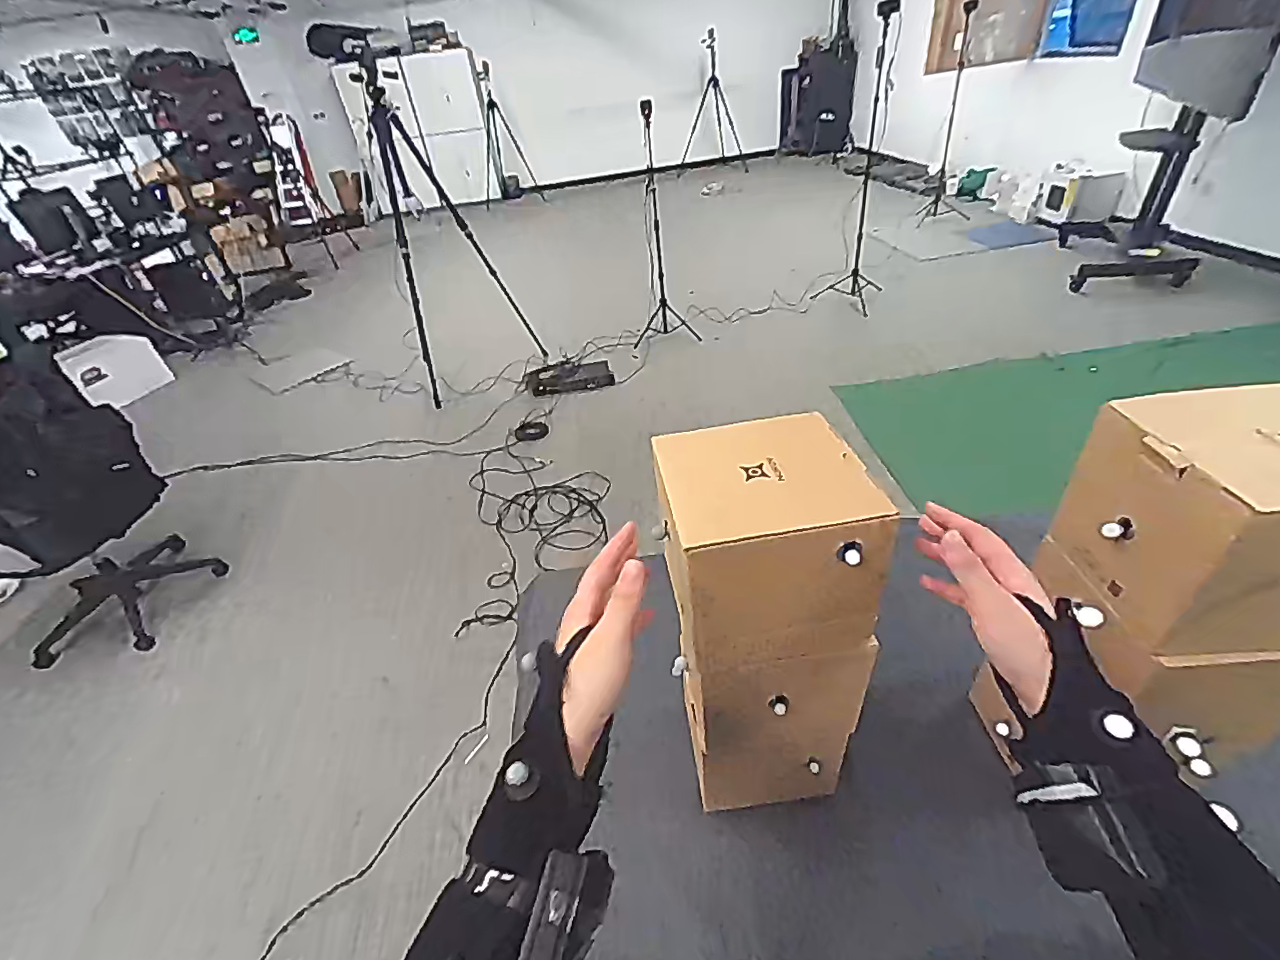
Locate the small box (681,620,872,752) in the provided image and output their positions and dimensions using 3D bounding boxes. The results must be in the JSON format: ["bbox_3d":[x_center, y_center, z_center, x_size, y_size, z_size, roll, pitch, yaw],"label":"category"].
[{"bbox_3d":[0.137,0.186,0.622,0.179,0.176,0.168,-8,37,0],"label":"small box"}]

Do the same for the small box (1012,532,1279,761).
[{"bbox_3d":[0.536,0.168,0.571,0.168,0.176,0.179,-6,38,6],"label":"small box"}]

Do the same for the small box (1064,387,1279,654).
[{"bbox_3d":[0.517,0.036,0.475,0.179,0.176,0.168,-4,37,7],"label":"small box"}]

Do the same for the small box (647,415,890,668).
[{"bbox_3d":[0.109,0.059,0.525,0.179,0.176,0.168,-9,37,-3],"label":"small box"}]

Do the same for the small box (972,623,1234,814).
[{"bbox_3d":[0.556,0.292,0.674,0.179,0.176,0.168,-6,36,4],"label":"small box"}]
